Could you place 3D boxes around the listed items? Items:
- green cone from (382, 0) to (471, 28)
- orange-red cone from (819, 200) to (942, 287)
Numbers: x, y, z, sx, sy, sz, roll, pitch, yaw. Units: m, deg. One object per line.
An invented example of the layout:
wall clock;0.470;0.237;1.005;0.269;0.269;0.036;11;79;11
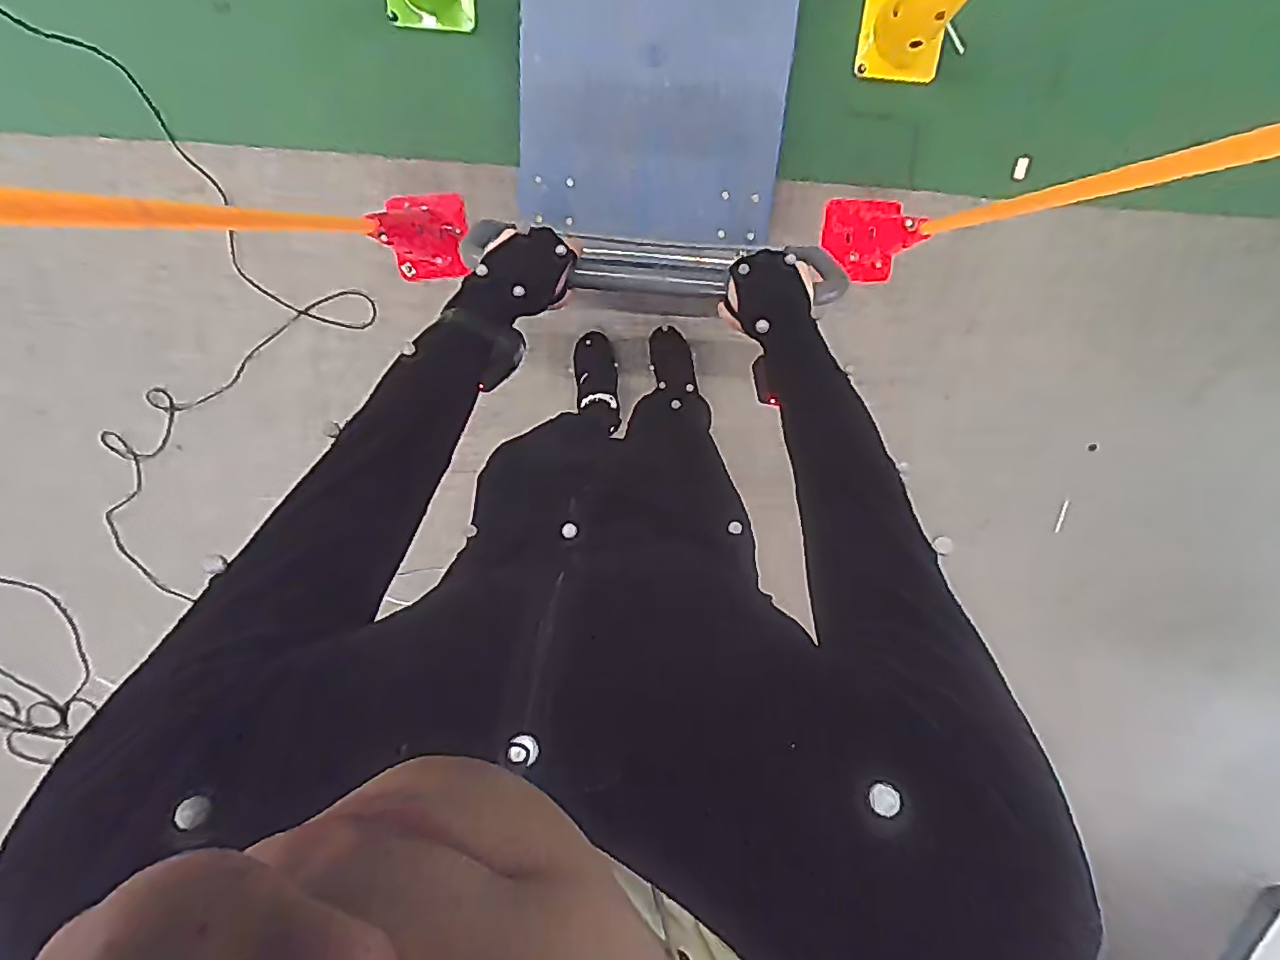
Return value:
green cone;-0.477;-1.071;1.036;0.200;0.368;0.202;3;109;-1
orange-red cone;0.577;-0.558;1.241;0.198;0.360;0.199;3;108;-3
